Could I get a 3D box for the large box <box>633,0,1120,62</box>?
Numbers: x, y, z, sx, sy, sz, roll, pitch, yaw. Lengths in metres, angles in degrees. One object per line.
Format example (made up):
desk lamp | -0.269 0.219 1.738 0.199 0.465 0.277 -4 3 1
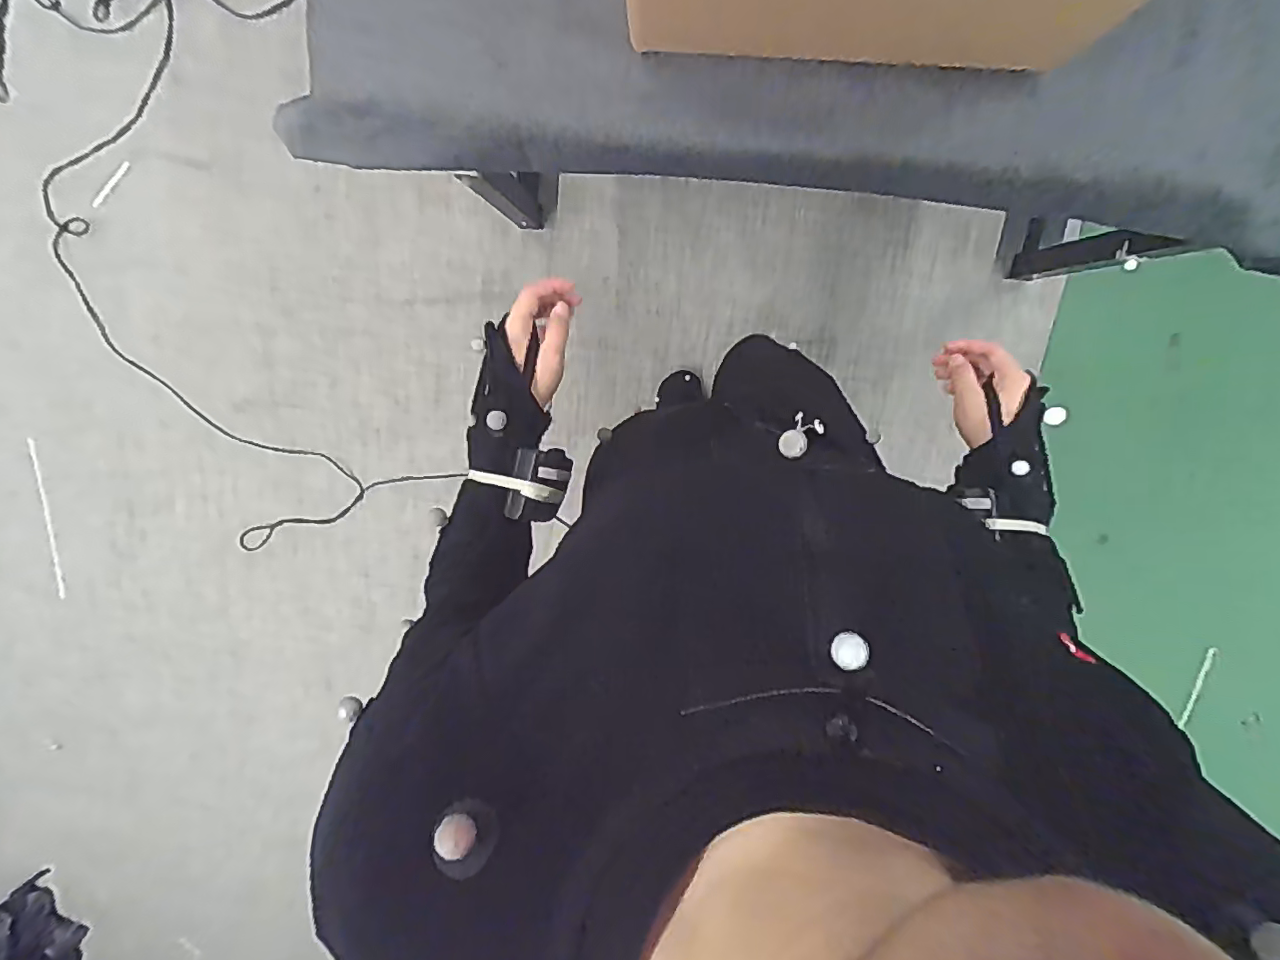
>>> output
large box | 0.194 -0.522 0.347 0.408 0.320 0.320 3 104 0
